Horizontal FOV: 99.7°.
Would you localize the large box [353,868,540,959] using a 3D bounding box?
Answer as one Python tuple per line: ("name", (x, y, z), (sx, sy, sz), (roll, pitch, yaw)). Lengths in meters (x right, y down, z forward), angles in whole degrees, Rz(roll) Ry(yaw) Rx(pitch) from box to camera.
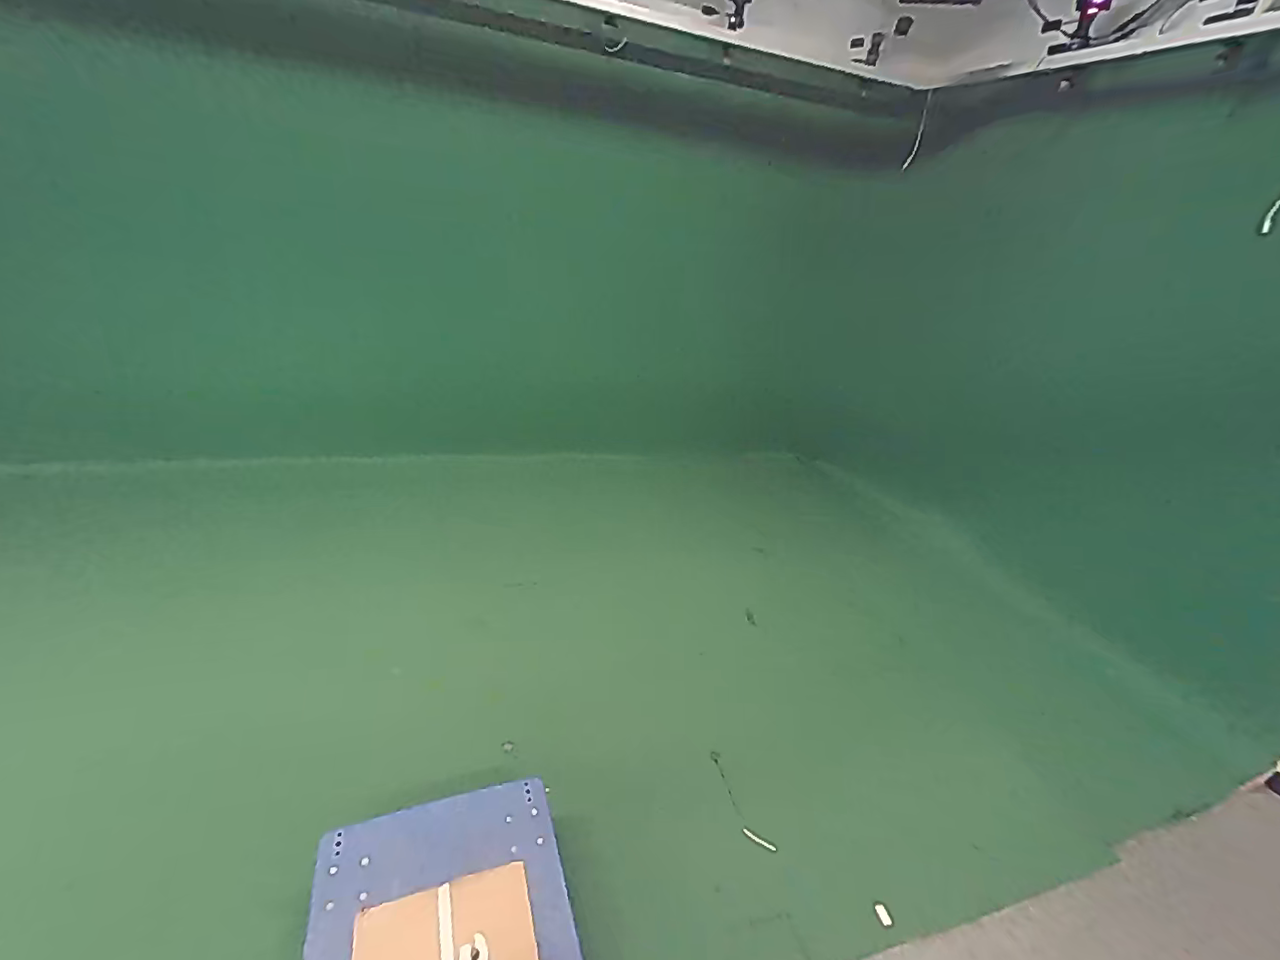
("large box", (-0.325, 1.026, 0.956), (0.320, 0.320, 0.408), (-4, 28, -21))
